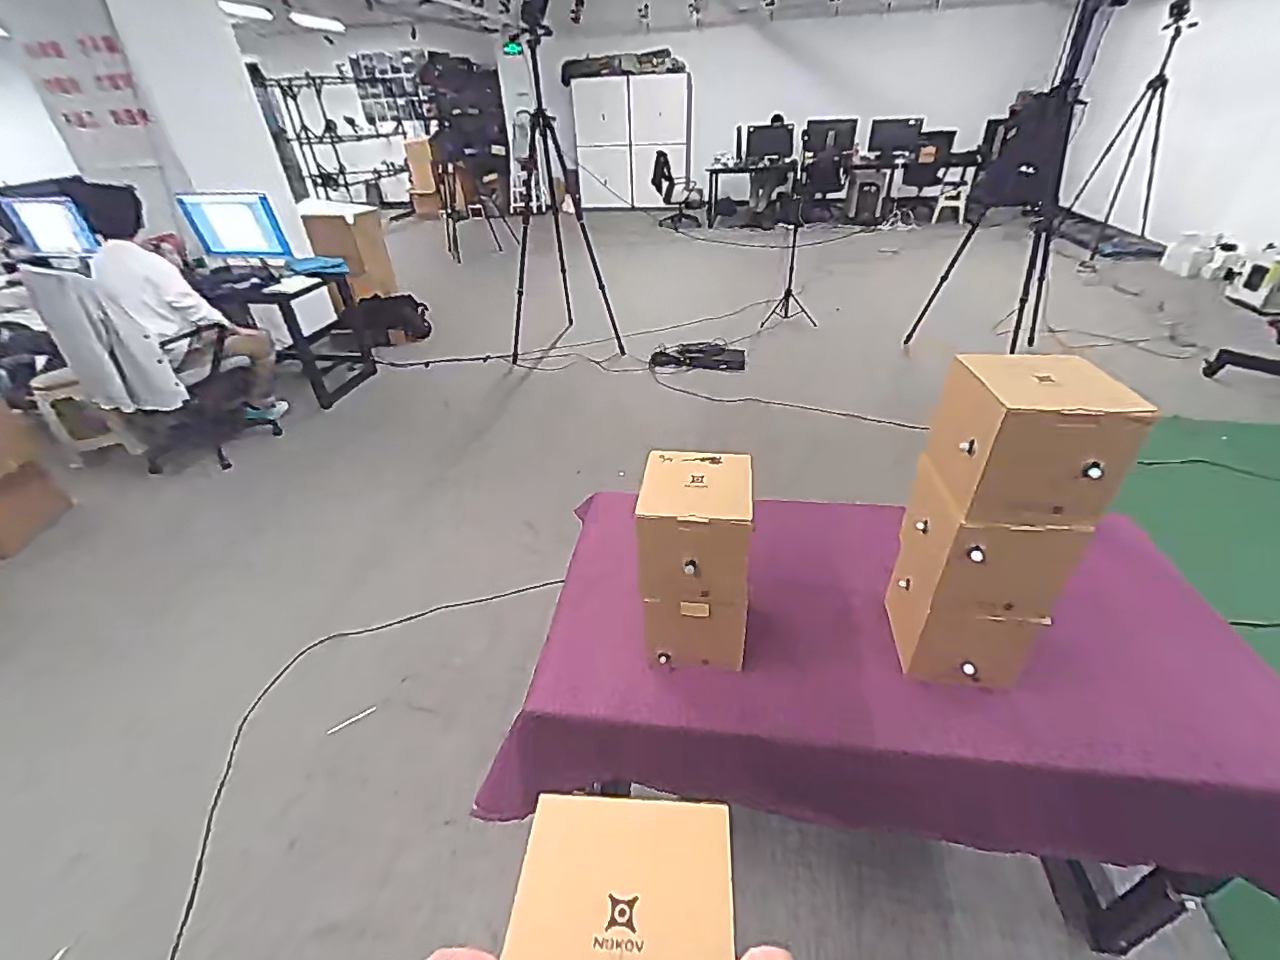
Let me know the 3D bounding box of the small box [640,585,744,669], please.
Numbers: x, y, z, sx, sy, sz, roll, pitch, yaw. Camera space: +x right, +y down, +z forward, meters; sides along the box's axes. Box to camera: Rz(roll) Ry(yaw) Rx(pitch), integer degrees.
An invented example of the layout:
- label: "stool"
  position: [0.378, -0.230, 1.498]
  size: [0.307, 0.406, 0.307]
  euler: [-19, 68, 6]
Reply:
- label: "small box"
  position: [0.095, 0.209, 0.949]
  size: [0.168, 0.176, 0.179]
  euler: [2, 34, 7]

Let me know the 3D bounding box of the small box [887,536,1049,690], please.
- label: "small box"
  position: [0.526, 0.217, 0.901]
  size: [0.168, 0.176, 0.179]
  euler: [3, 35, 10]

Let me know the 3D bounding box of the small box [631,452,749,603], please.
- label: "small box"
  position: [0.085, 0.073, 0.857]
  size: [0.168, 0.176, 0.179]
  euler: [3, 36, 8]

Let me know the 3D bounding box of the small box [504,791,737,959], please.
- label: "small box"
  position: [-0.010, 0.390, 0.442]
  size: [0.168, 0.176, 0.179]
  euler: [1, 35, 6]

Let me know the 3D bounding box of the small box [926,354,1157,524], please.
- label: "small box"
  position: [0.510, -0.057, 0.722]
  size: [0.168, 0.176, 0.179]
  euler: [2, 34, 7]
